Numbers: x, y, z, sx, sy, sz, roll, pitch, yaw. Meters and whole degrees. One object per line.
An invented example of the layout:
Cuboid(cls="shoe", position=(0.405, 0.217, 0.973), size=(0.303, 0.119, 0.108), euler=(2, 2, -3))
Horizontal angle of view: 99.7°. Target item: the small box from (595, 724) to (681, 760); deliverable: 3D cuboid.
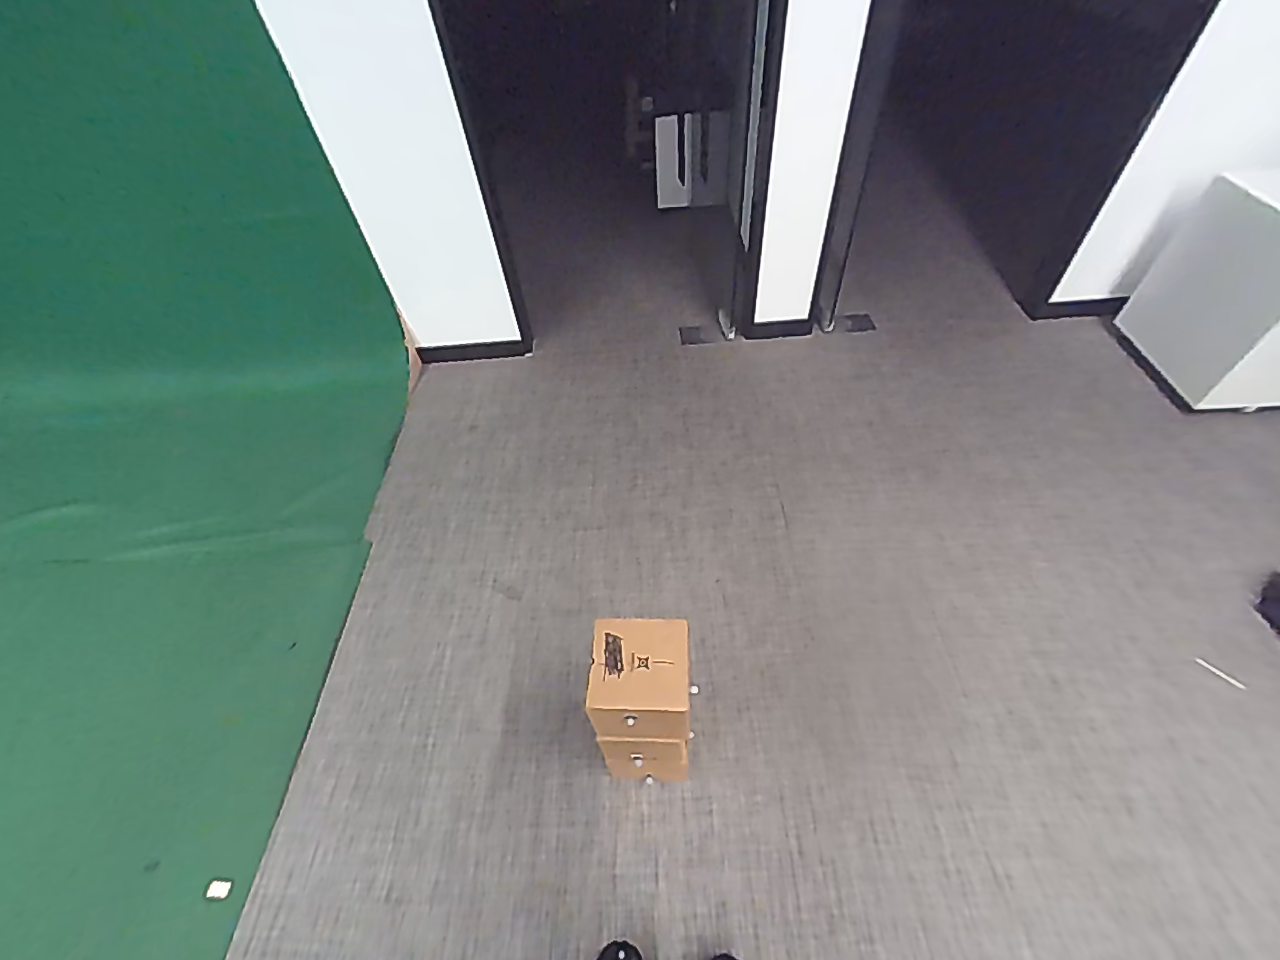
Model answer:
Cuboid(cls="small box", position=(0.004, 0.478, 1.149), size=(0.168, 0.176, 0.179), euler=(-2, 51, 6))

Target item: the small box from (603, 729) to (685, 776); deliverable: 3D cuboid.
Cuboid(cls="small box", position=(0.016, 0.586, 1.269), size=(0.179, 0.176, 0.168), euler=(1, 50, 5))

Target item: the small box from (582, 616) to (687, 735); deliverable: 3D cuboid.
Cuboid(cls="small box", position=(-0.001, 0.371, 1.023), size=(0.179, 0.176, 0.168), euler=(0, 50, 6))
